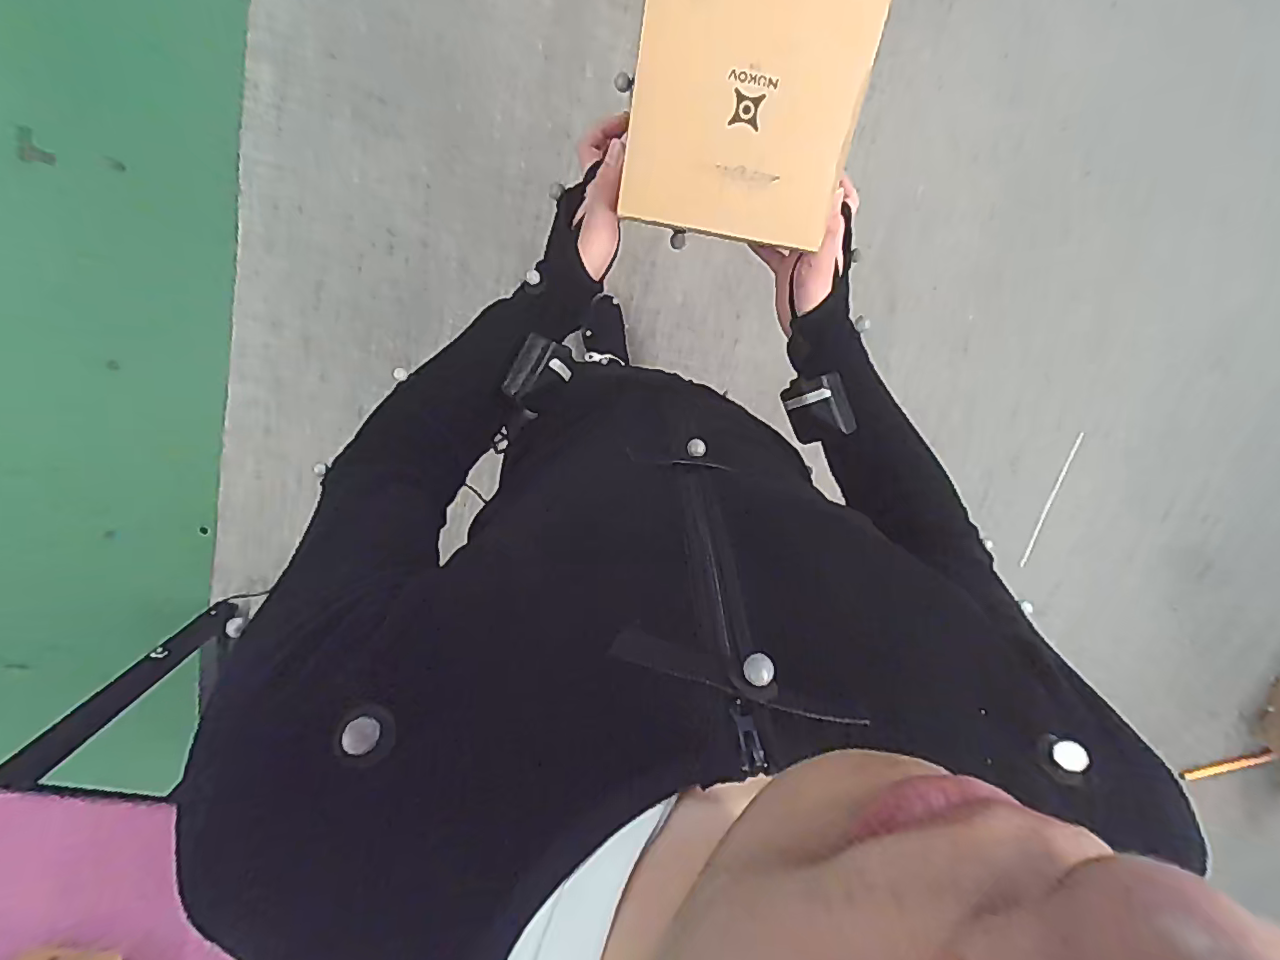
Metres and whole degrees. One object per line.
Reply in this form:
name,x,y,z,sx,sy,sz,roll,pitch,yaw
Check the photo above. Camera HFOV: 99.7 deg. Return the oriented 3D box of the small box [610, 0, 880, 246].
small box,0.067,-0.307,0.456,0.168,0.176,0.179,8,115,-5
